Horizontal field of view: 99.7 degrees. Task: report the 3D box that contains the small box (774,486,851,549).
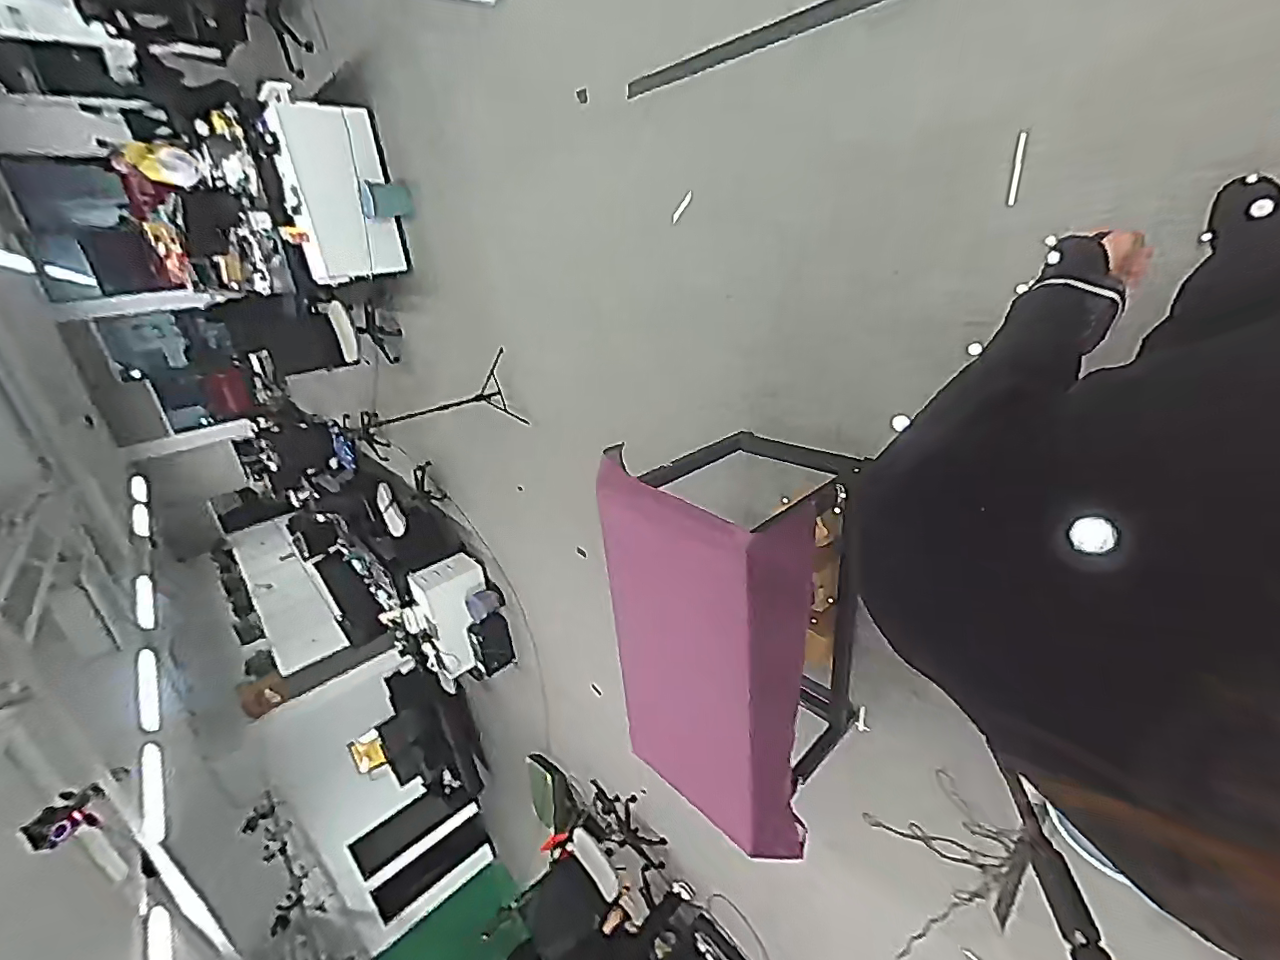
[{"bbox_3d":[0.624,0.134,1.952,0.179,0.176,0.168,-21,93,55],"label":"small box"}]
